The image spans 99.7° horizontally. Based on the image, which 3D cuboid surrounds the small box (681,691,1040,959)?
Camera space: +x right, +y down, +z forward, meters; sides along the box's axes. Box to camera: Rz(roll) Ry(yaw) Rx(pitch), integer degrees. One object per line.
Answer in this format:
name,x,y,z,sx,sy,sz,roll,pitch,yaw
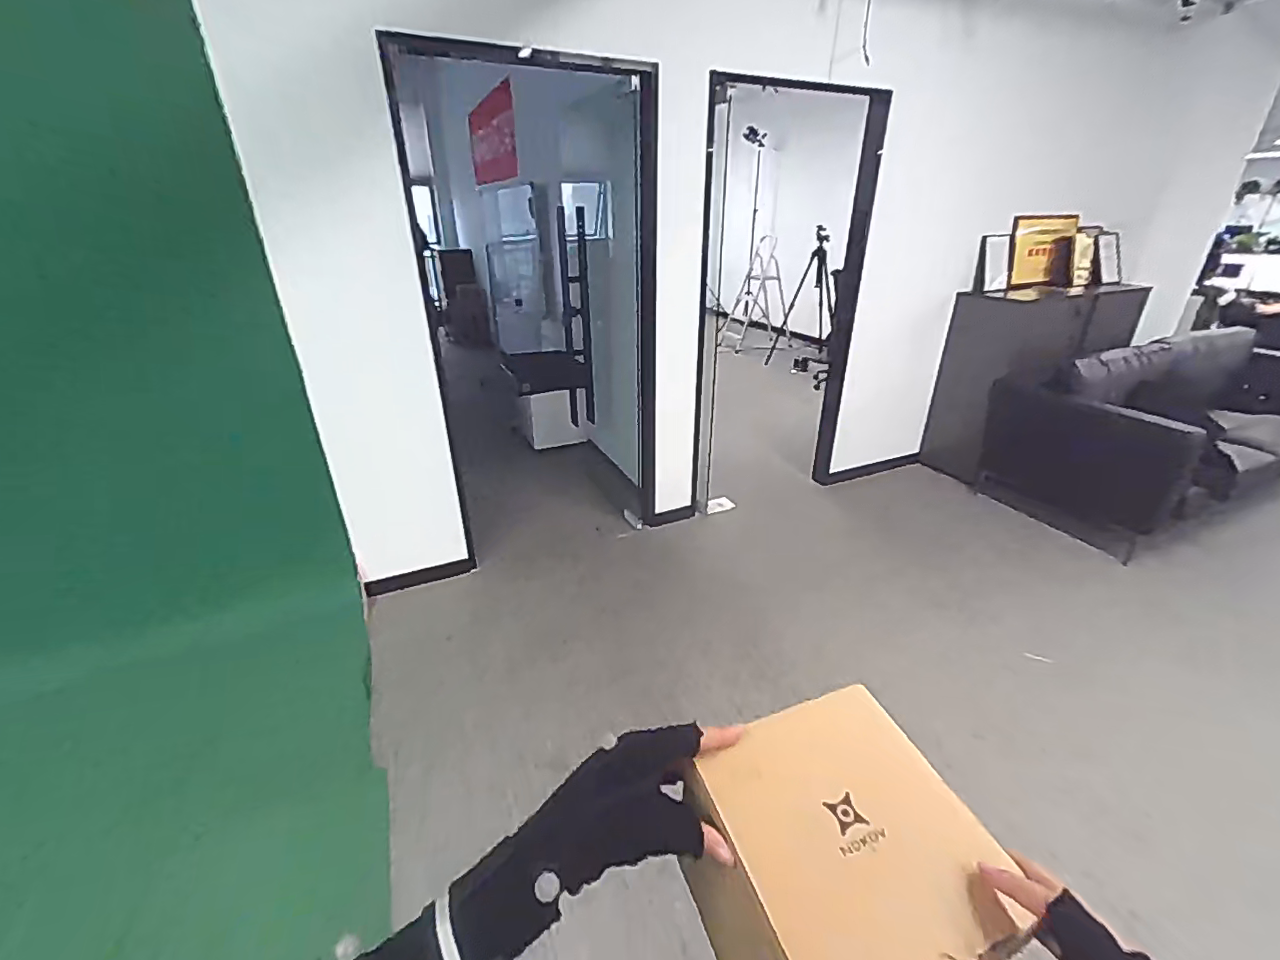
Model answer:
small box,0.139,0.305,0.417,0.168,0.176,0.179,-10,35,-18
